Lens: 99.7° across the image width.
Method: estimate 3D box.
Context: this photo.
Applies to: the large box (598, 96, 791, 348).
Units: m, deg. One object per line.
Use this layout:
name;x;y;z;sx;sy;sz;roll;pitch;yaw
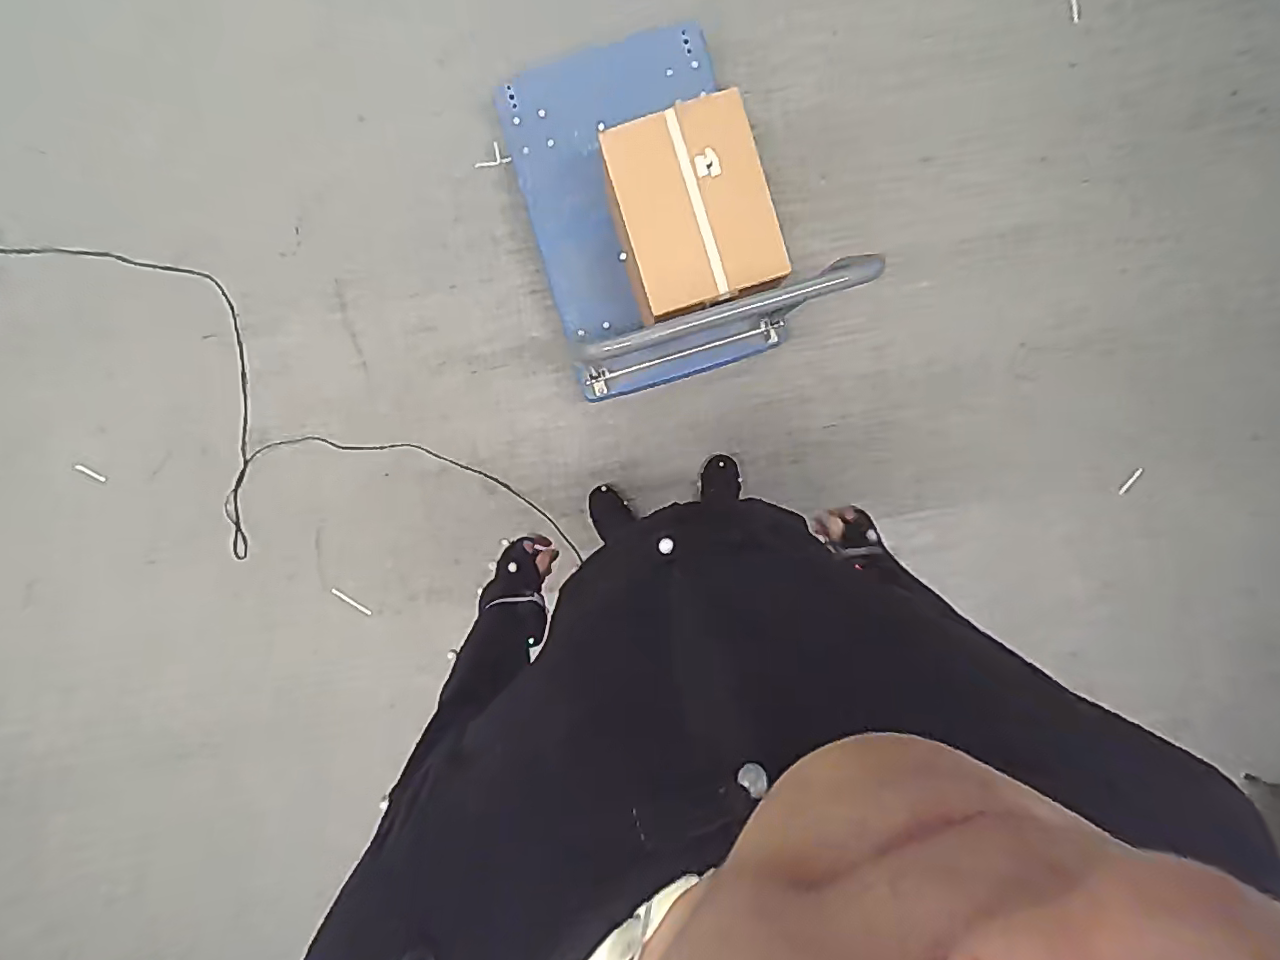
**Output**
large box;0.119;-0.580;1.292;0.320;0.320;0.408;-18;91;0
